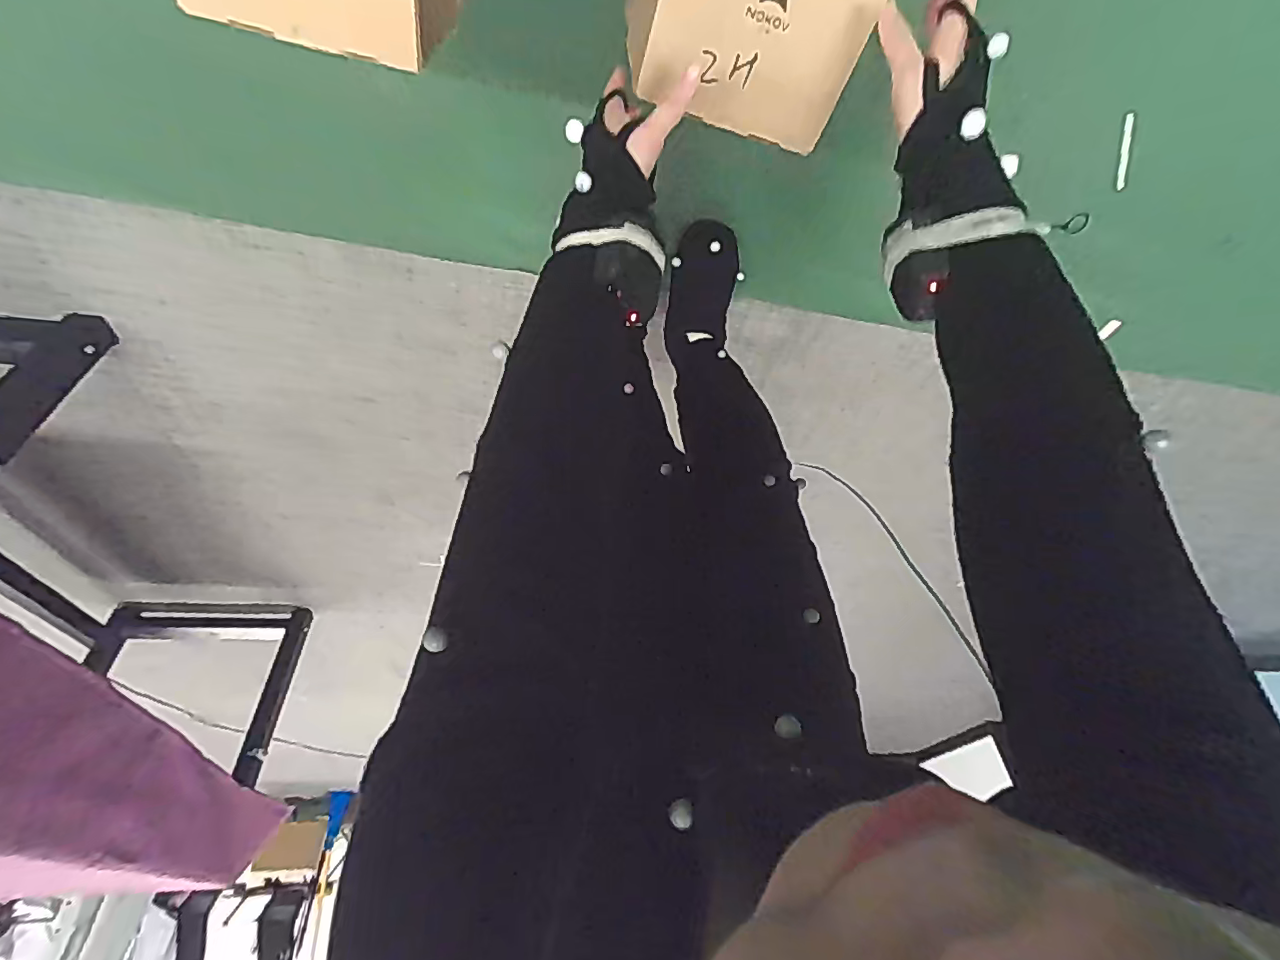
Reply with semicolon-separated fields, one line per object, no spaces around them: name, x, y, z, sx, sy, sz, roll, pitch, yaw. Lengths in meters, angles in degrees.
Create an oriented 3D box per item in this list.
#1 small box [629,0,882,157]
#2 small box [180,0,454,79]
small box;0.090;-0.418;0.454;0.168;0.176;0.179;9;140;-15
small box;-0.237;-0.445;0.401;0.168;0.176;0.179;7;140;-12
